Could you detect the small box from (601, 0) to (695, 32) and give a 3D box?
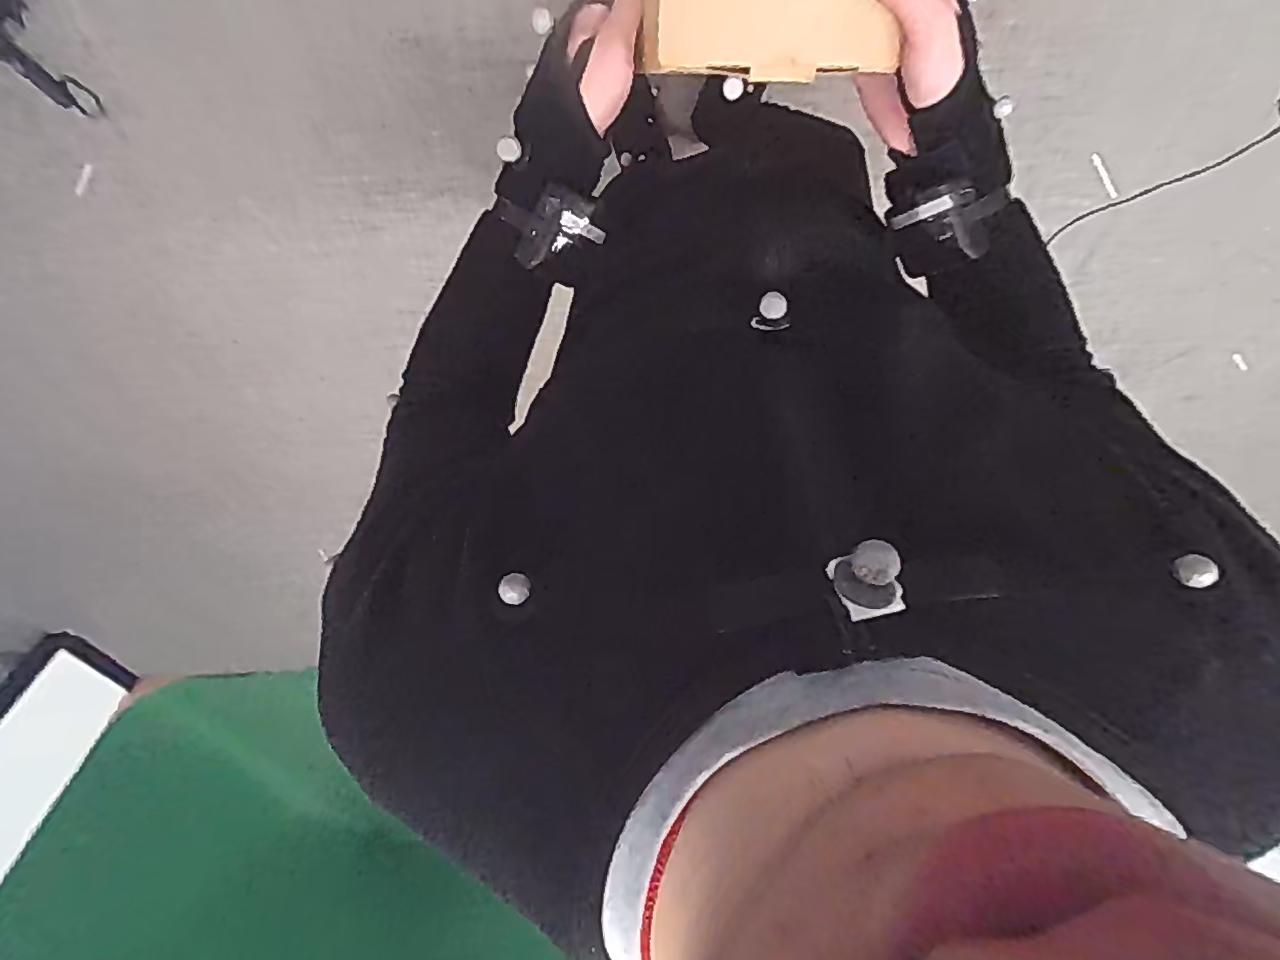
[{"bbox_3d":[0.005,-0.934,0.969,0.168,0.176,0.179,-7,134,5],"label":"small box"}]
